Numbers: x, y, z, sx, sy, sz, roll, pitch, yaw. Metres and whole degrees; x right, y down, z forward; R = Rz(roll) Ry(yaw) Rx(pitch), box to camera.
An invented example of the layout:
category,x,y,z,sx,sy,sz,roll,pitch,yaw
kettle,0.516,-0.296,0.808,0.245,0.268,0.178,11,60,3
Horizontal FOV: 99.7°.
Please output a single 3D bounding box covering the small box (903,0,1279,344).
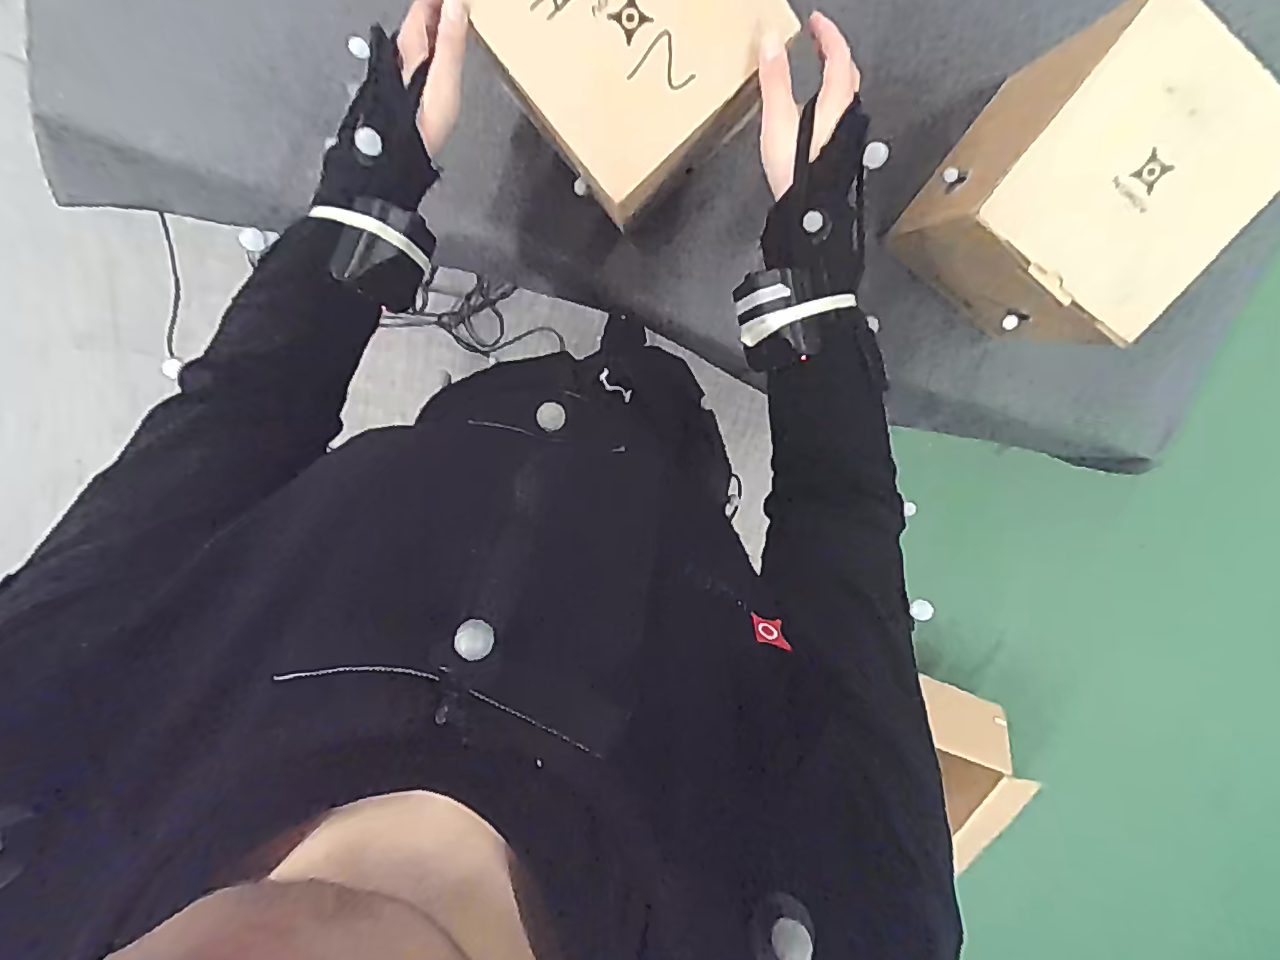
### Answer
category,x,y,z,sx,sy,sz,roll,pitch,yaw
small box,0.355,-0.235,0.450,0.168,0.176,0.179,33,104,-9
